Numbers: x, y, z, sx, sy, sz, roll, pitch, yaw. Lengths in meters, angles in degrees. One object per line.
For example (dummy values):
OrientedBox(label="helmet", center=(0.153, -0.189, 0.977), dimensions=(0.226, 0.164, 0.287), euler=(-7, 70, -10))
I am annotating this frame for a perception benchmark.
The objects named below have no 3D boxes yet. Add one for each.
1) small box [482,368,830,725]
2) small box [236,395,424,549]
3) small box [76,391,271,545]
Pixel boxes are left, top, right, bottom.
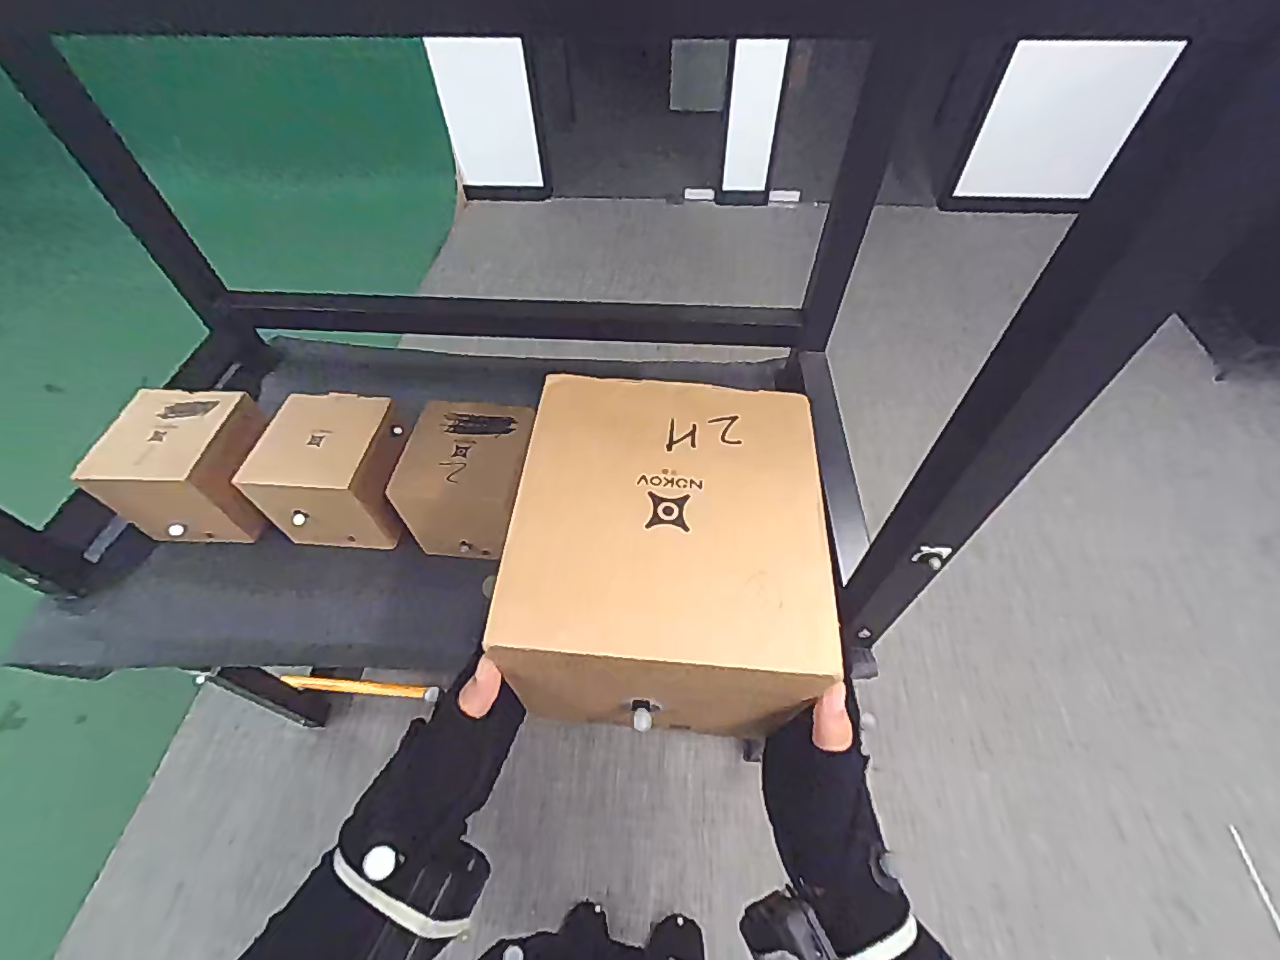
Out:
OrientedBox(label="small box", center=(0.012, 0.052, 0.359), dimensions=(0.168, 0.176, 0.179), euler=(5, 55, 1))
OrientedBox(label="small box", center=(-0.459, -0.009, 0.841), dimensions=(0.168, 0.176, 0.179), euler=(4, 52, 3))
OrientedBox(label="small box", center=(-0.686, -0.018, 0.848), dimensions=(0.168, 0.176, 0.179), euler=(1, 52, 2))
